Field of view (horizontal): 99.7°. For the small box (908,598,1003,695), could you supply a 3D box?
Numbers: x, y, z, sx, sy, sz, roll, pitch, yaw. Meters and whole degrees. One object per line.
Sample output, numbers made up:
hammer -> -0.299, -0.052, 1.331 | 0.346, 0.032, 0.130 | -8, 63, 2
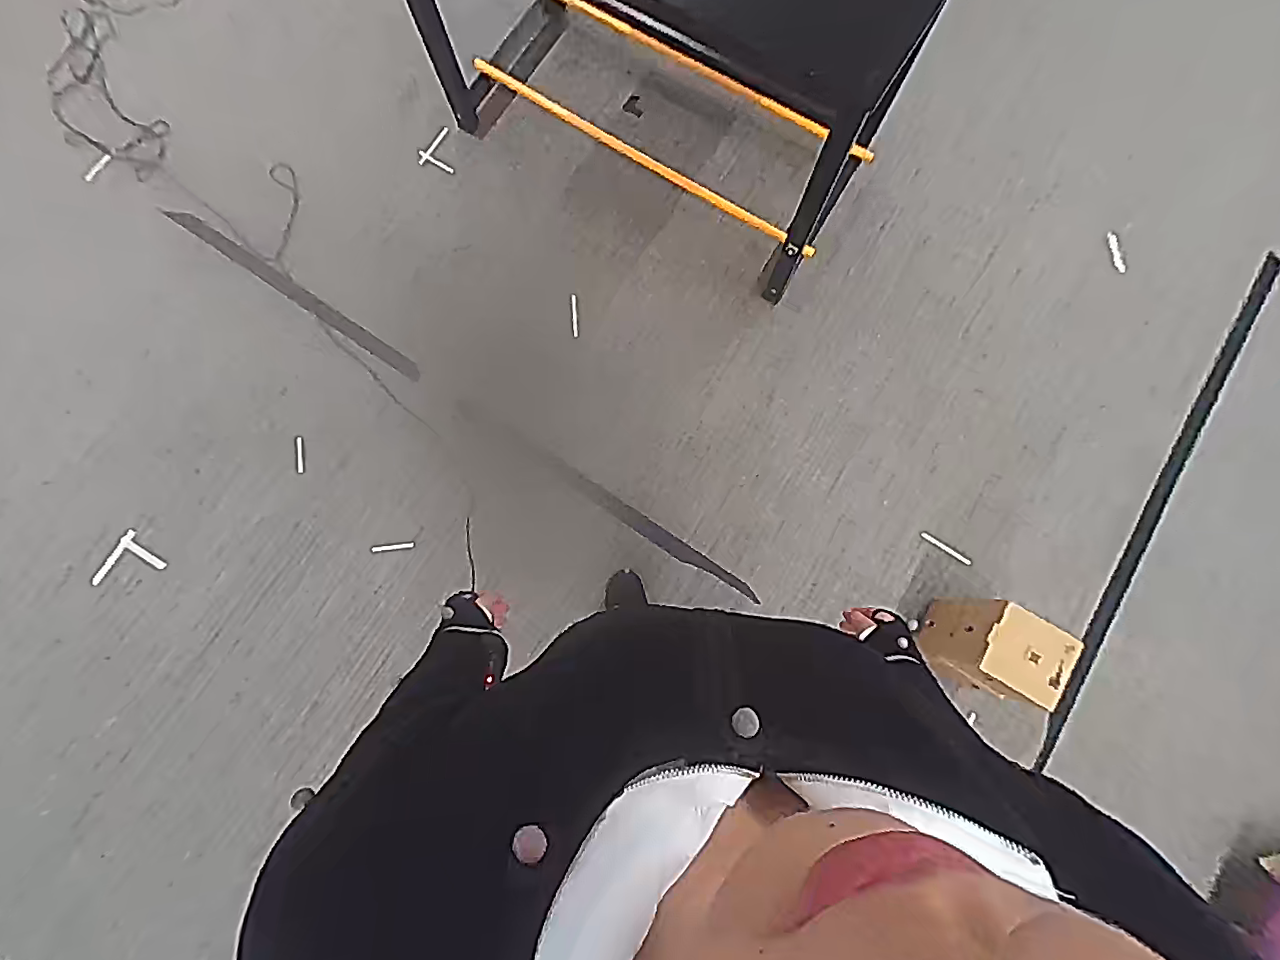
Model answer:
small box -> 0.837, 0.416, 1.390 | 0.179, 0.176, 0.168 | 33, 82, 6

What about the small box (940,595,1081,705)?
small box -> 0.829, 0.377, 1.231 | 0.179, 0.176, 0.168 | 31, 82, 6
